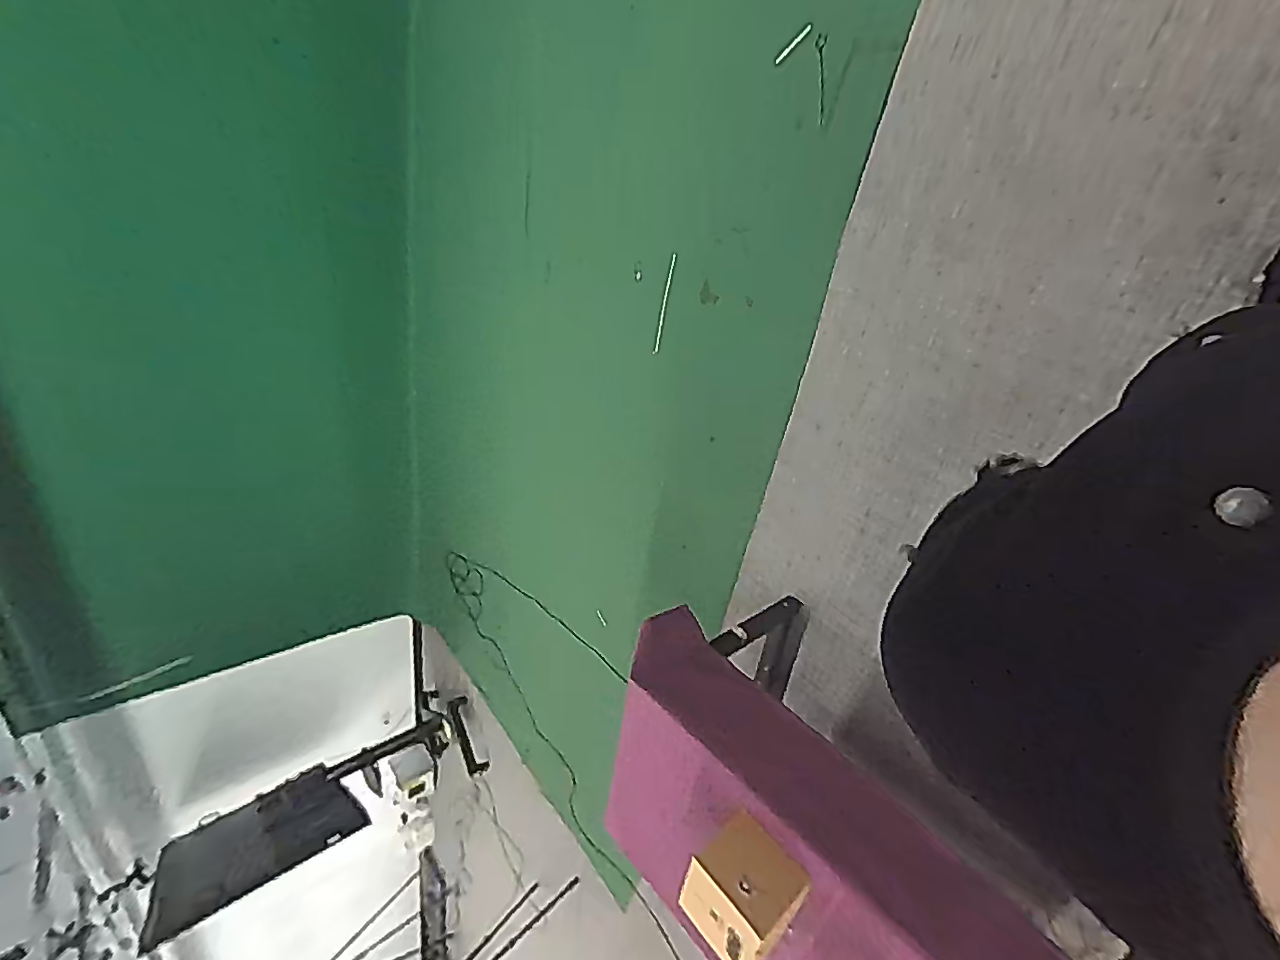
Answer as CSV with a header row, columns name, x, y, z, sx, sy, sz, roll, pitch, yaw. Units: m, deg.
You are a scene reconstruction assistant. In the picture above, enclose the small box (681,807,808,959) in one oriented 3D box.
name,x,y,z,sx,sy,sz,roll,pitch,yaw
small box,0.214,0.825,1.106,0.179,0.176,0.168,33,124,40
